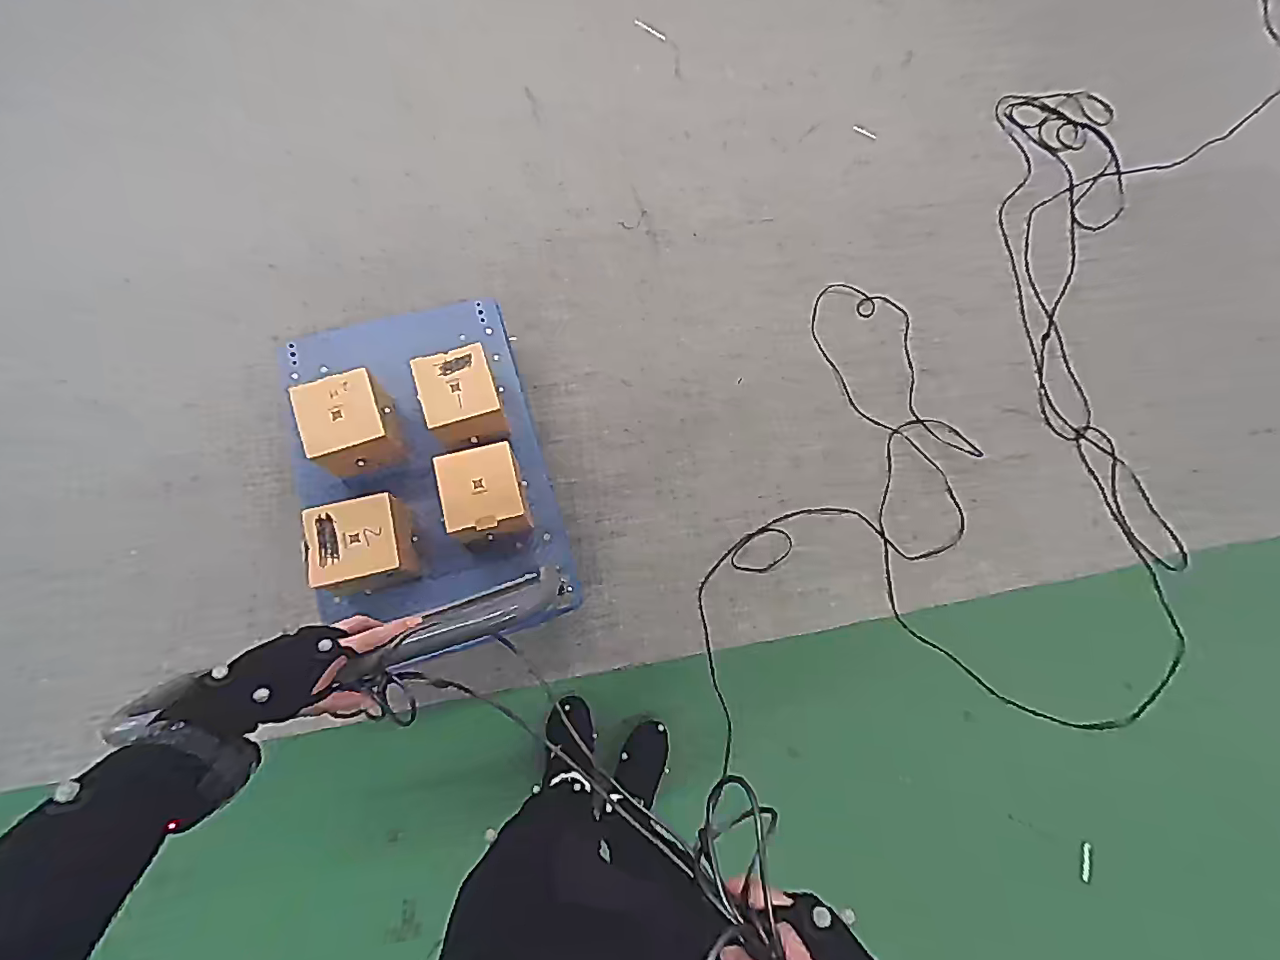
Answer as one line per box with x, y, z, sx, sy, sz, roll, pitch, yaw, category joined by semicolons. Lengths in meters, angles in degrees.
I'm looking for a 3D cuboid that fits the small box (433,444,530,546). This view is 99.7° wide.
-0.356;0.038;1.239;0.168;0.176;0.179;-14;77;-9;small box

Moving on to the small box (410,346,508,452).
-0.426;-0.189;1.292;0.168;0.176;0.179;-18;77;-9;small box

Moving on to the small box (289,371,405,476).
-0.669;-0.120;1.253;0.168;0.176;0.179;-19;78;-11;small box
